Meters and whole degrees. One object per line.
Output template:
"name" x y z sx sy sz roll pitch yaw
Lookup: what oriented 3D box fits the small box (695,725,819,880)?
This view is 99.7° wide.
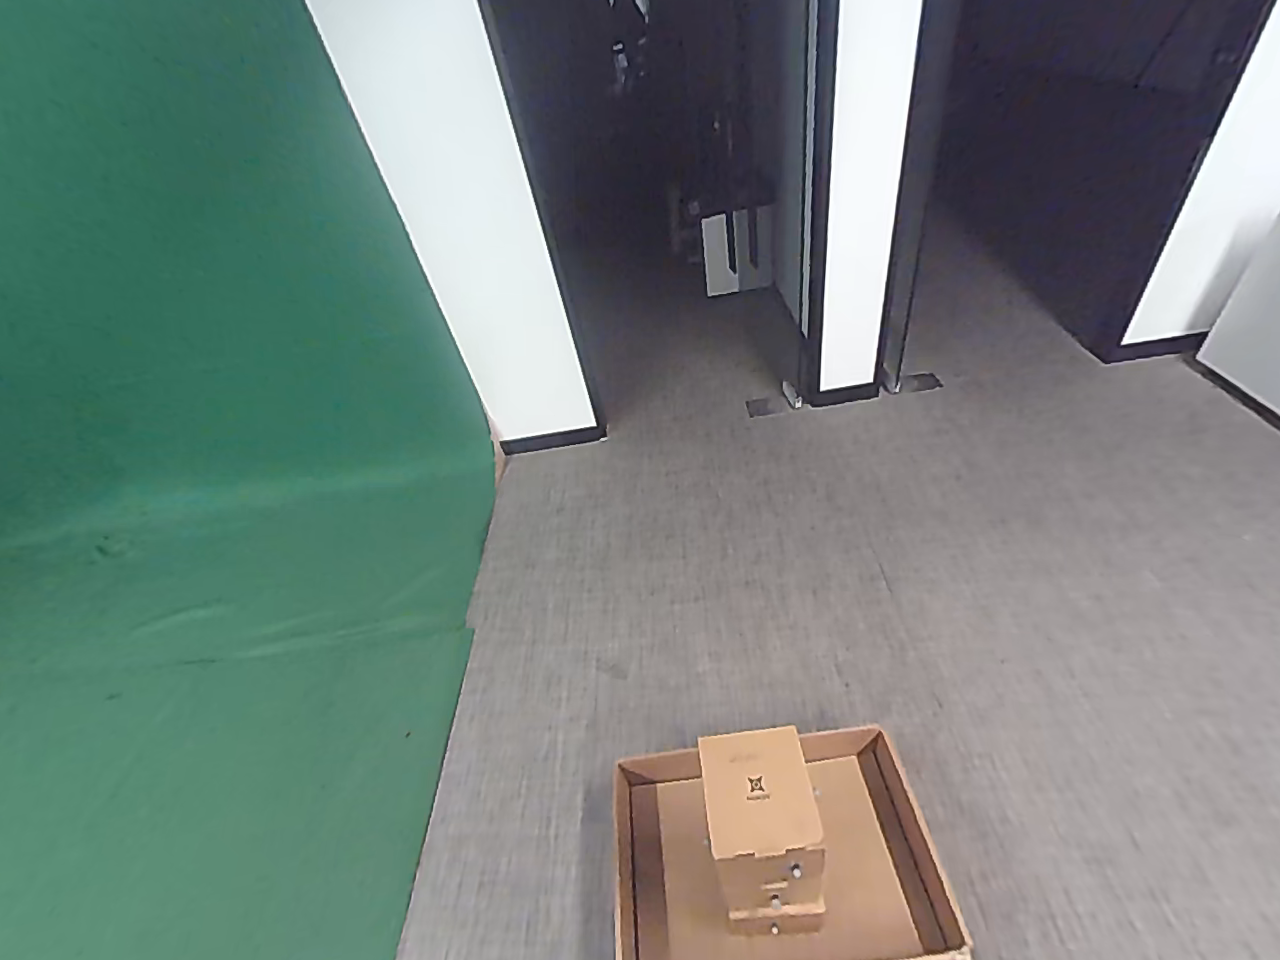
"small box" 0.189 0.536 0.892 0.168 0.176 0.179 -9 39 4

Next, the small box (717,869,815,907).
"small box" 0.222 0.670 1.010 0.168 0.176 0.179 -12 40 3

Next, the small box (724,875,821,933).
"small box" 0.258 0.799 1.100 0.179 0.176 0.168 -9 39 7
